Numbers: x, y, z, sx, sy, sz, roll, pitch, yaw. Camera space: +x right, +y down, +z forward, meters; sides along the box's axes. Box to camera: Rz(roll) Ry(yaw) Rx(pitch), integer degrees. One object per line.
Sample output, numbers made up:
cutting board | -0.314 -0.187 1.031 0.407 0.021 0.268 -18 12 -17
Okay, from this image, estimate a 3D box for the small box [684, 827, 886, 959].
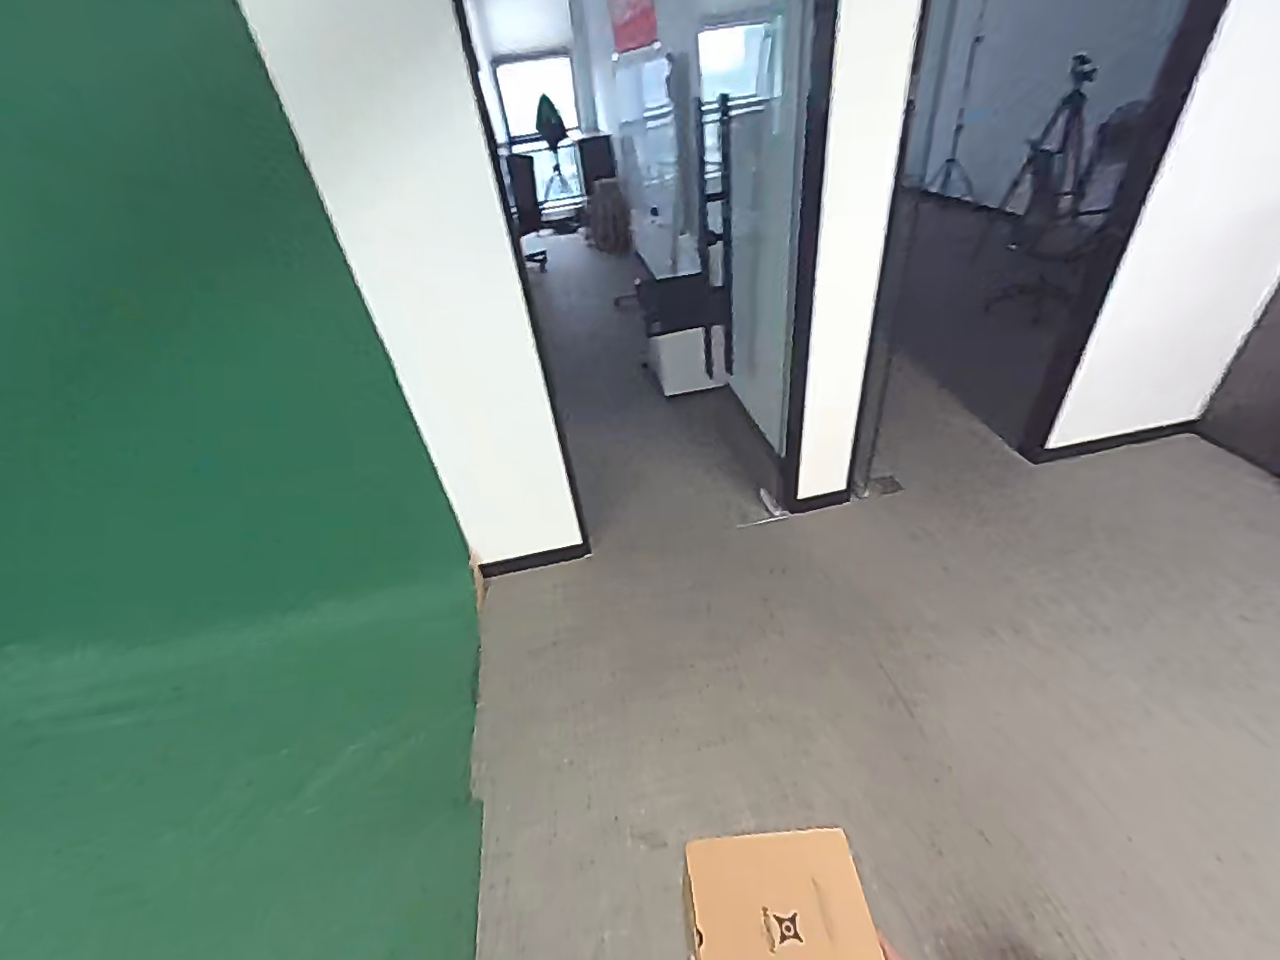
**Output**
small box | 0.142 0.493 0.566 0.179 0.176 0.168 -4 37 -2
